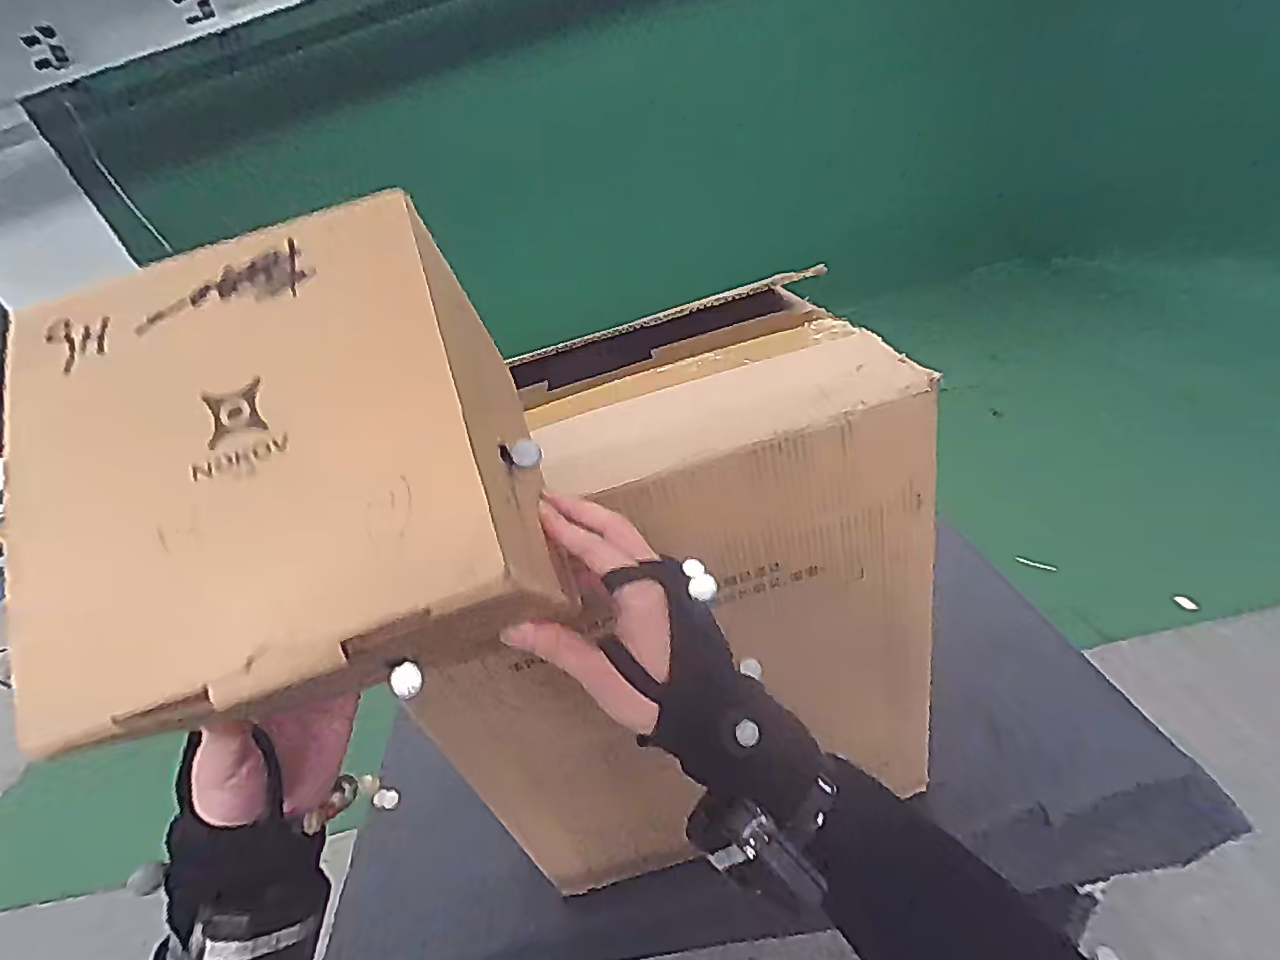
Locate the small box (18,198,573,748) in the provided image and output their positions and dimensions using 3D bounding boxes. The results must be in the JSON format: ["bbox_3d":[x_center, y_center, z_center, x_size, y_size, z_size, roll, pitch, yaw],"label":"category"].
[{"bbox_3d":[-0.143,0.005,0.279,0.168,0.176,0.179,-19,75,-4],"label":"small box"}]
